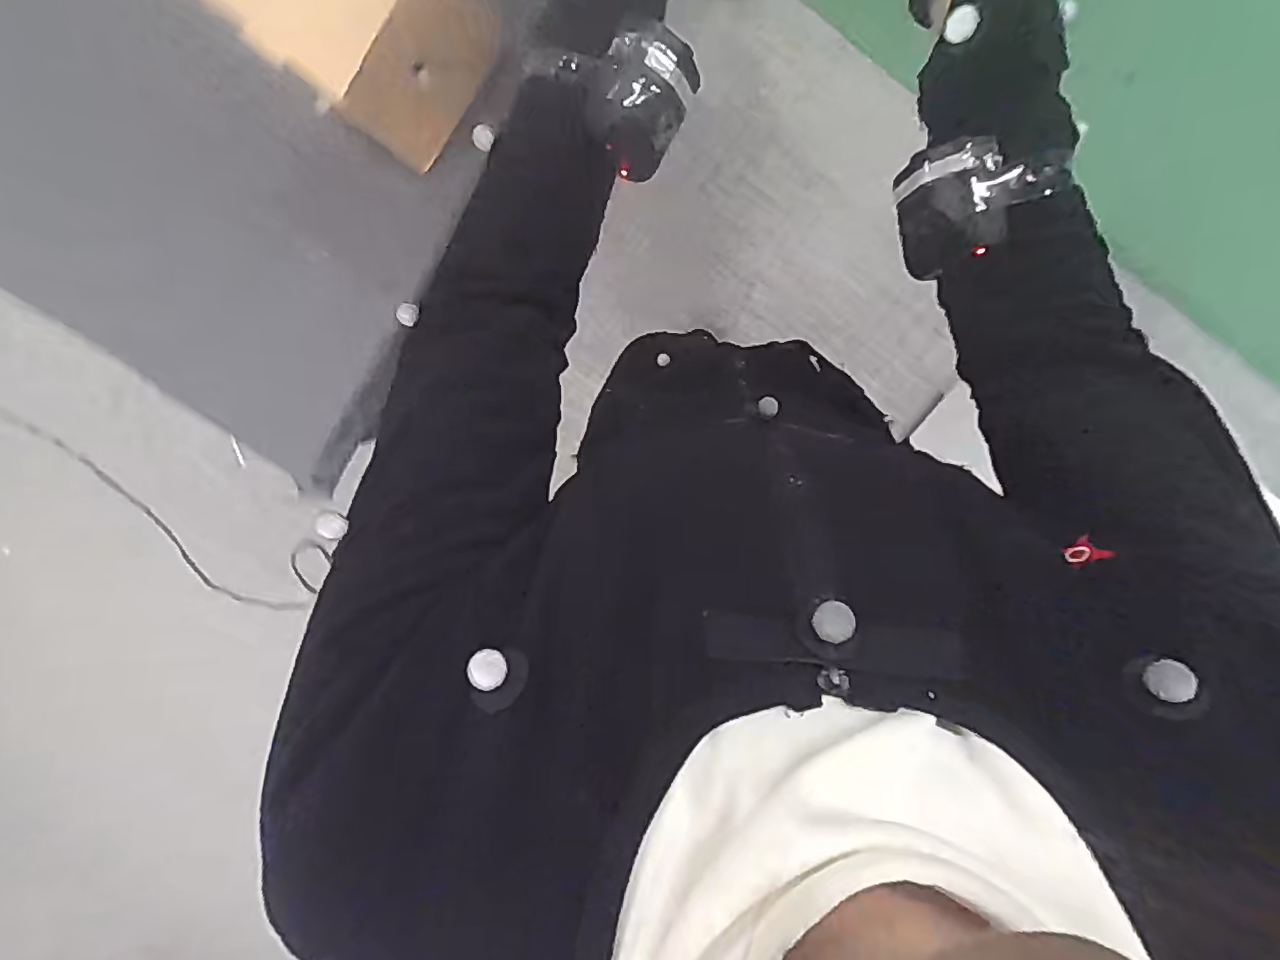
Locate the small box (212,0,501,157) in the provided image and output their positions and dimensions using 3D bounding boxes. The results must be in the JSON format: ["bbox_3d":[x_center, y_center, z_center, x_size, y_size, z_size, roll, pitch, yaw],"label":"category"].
[{"bbox_3d":[-0.264,-0.462,0.526,0.168,0.176,0.179,39,103,-3],"label":"small box"}]
